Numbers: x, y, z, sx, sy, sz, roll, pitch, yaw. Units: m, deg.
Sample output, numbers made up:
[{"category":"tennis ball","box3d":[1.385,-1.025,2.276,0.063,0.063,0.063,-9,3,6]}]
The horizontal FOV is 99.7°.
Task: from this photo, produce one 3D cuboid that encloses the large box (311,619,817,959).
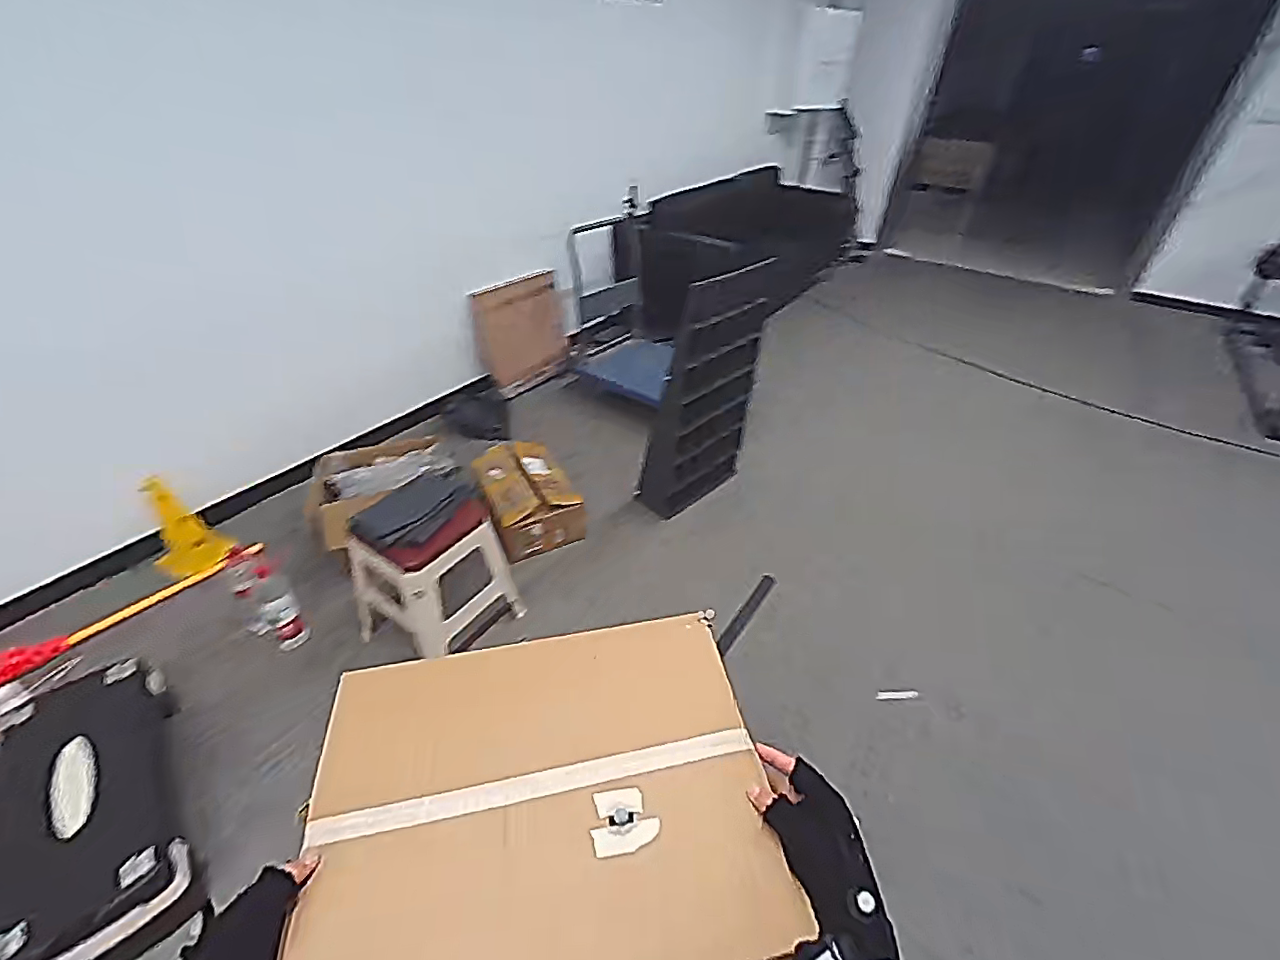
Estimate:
[{"category":"large box","box3d":[-0.081,0.402,0.611,0.408,0.320,0.320,-6,41,-9]}]
